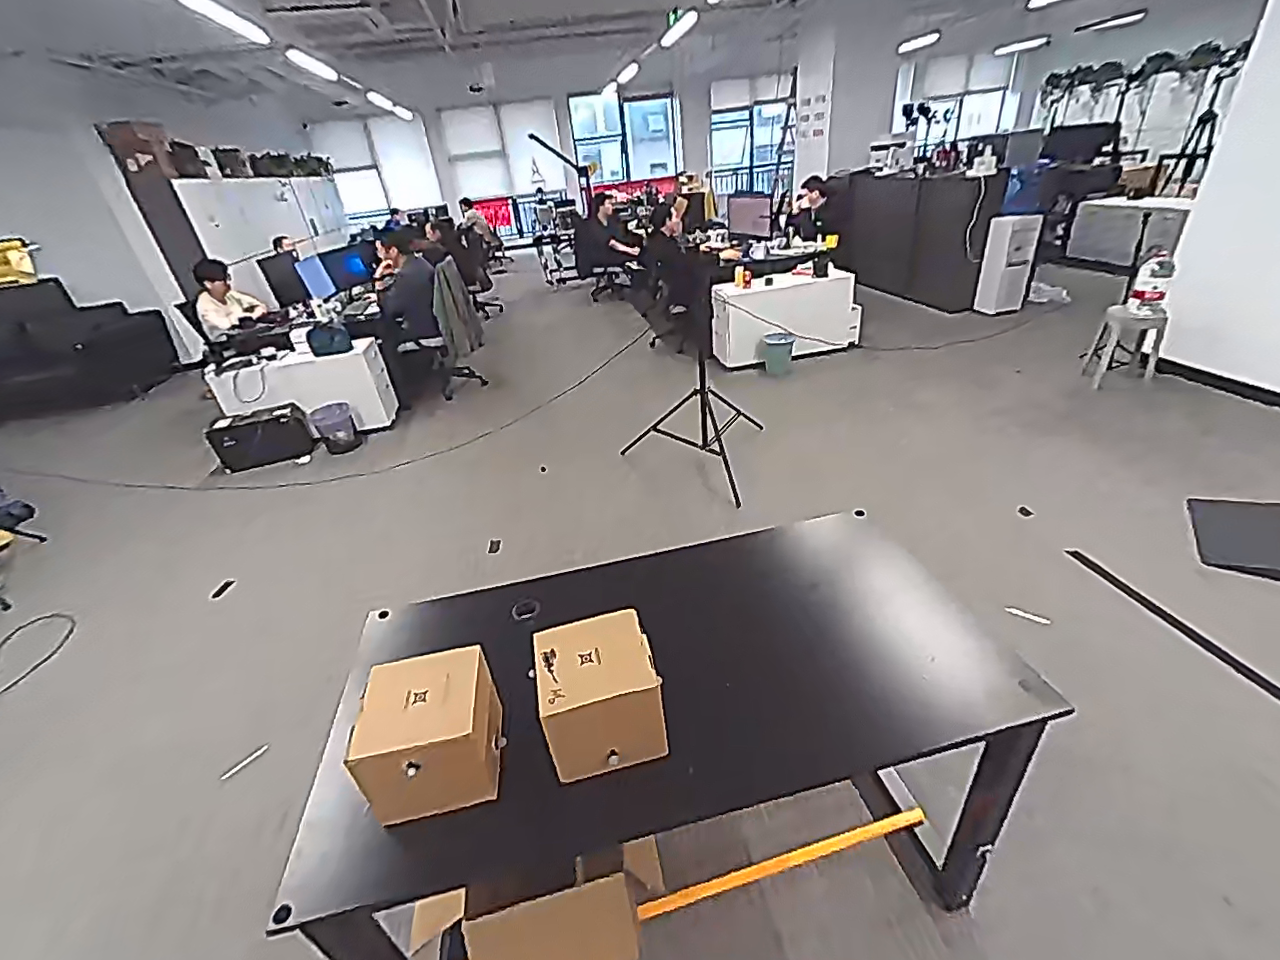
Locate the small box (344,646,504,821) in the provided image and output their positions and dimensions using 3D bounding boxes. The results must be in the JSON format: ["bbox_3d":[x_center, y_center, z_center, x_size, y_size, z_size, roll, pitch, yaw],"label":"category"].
[{"bbox_3d":[-0.320,0.392,0.839,0.179,0.176,0.168,-10,32,-7],"label":"small box"}]

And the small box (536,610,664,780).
[{"bbox_3d":[-0.063,0.343,0.868,0.179,0.176,0.168,-11,30,-8],"label":"small box"}]
